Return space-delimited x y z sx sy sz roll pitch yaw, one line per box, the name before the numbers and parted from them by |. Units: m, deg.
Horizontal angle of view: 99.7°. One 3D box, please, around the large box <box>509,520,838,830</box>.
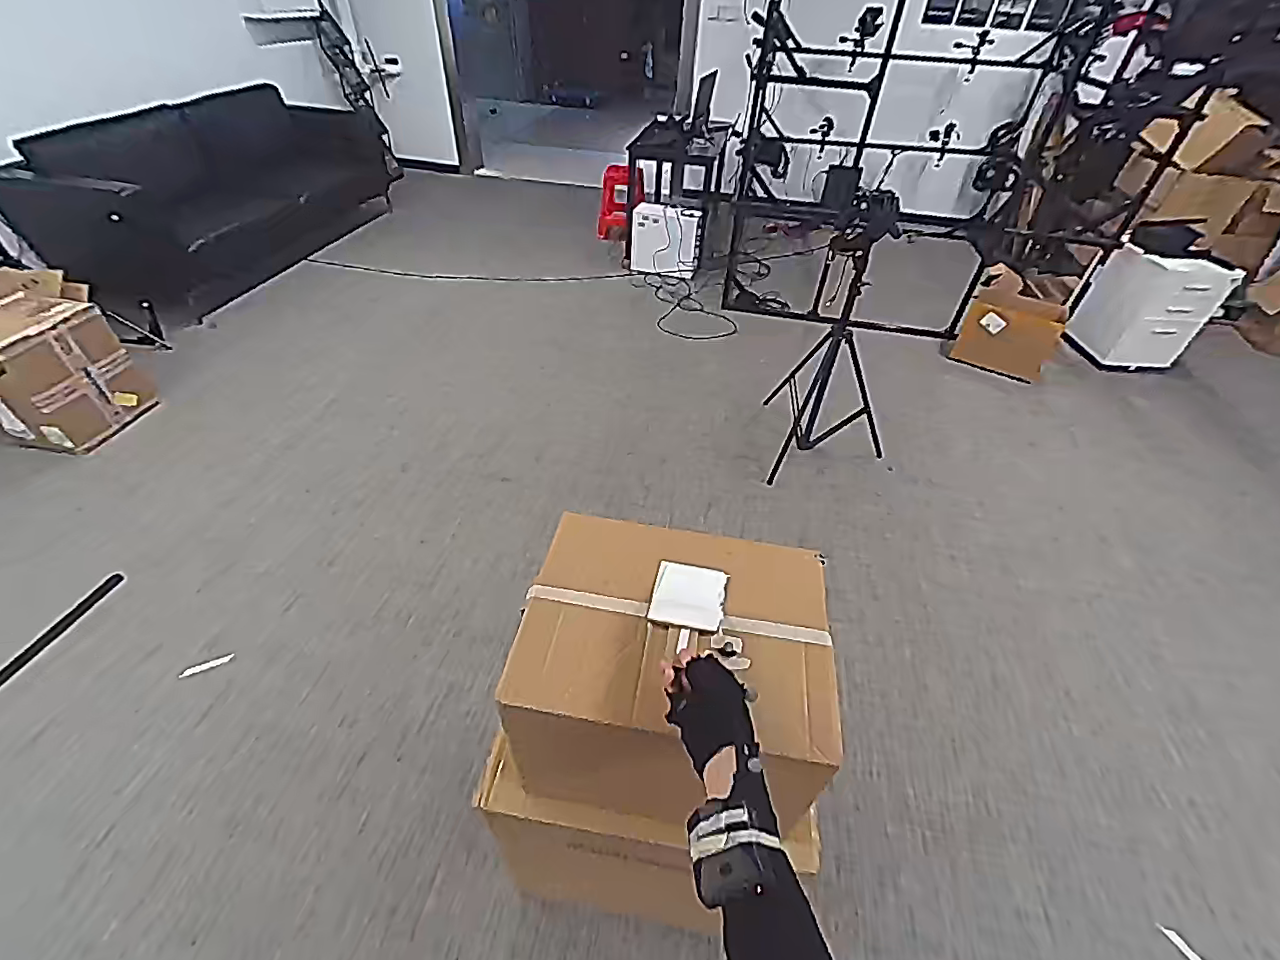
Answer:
large box | 0.046 0.299 0.845 0.408 0.320 0.320 8 43 4
